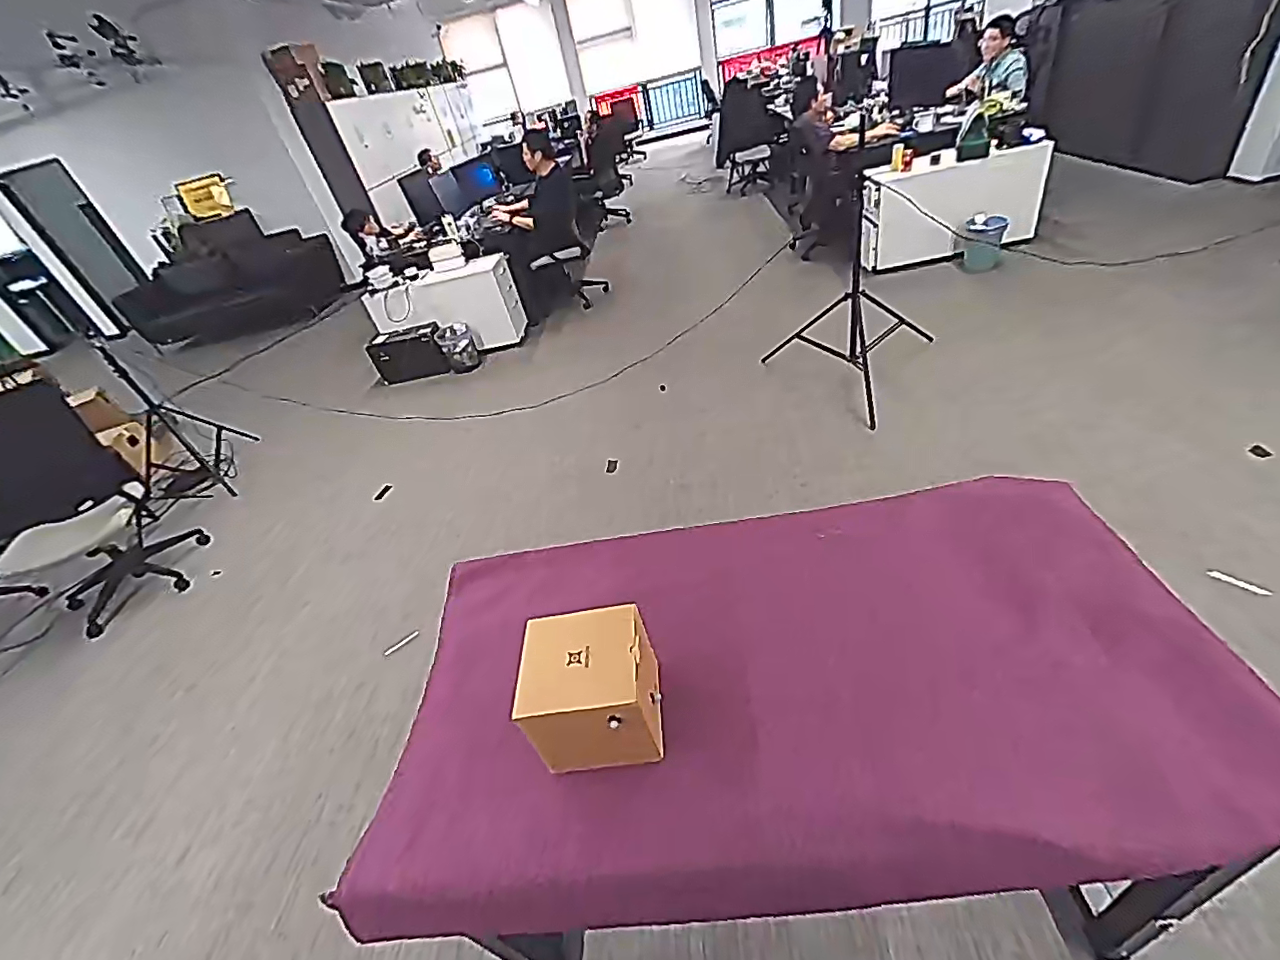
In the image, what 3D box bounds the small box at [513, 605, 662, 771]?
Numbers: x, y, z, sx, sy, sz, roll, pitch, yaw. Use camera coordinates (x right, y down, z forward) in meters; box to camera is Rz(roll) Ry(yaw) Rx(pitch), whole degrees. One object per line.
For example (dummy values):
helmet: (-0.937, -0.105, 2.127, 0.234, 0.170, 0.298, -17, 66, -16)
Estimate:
small box: (-0.071, 0.318, 0.822, 0.179, 0.176, 0.168, -10, 37, 5)
